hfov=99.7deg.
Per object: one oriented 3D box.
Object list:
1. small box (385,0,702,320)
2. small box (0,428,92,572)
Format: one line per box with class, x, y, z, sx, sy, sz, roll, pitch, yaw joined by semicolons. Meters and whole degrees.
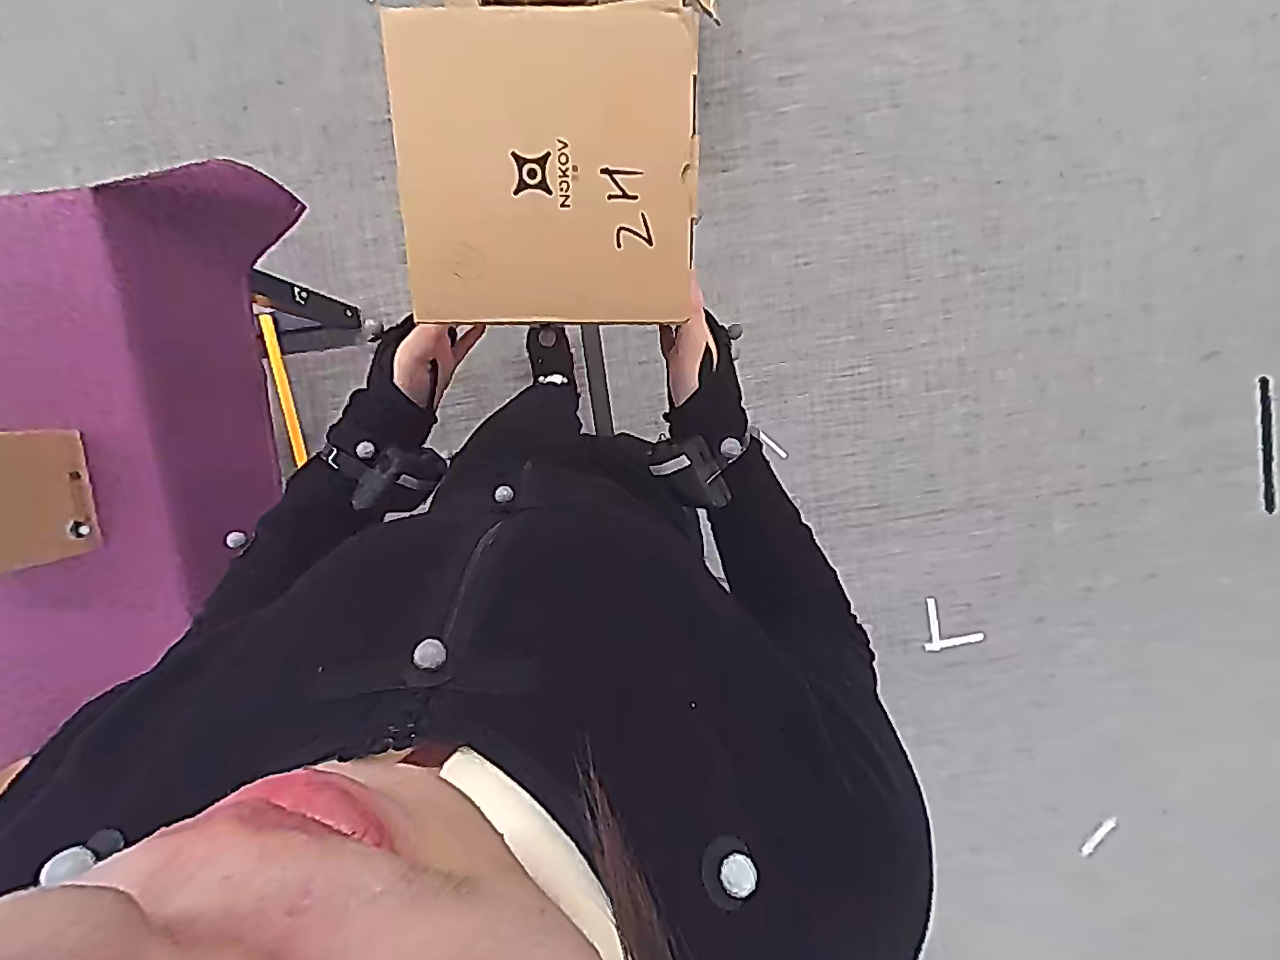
small box;-0.054;-0.204;0.392;0.179;0.176;0.168;0;107;-1
small box;-0.826;0.027;0.654;0.179;0.176;0.168;-5;97;0
